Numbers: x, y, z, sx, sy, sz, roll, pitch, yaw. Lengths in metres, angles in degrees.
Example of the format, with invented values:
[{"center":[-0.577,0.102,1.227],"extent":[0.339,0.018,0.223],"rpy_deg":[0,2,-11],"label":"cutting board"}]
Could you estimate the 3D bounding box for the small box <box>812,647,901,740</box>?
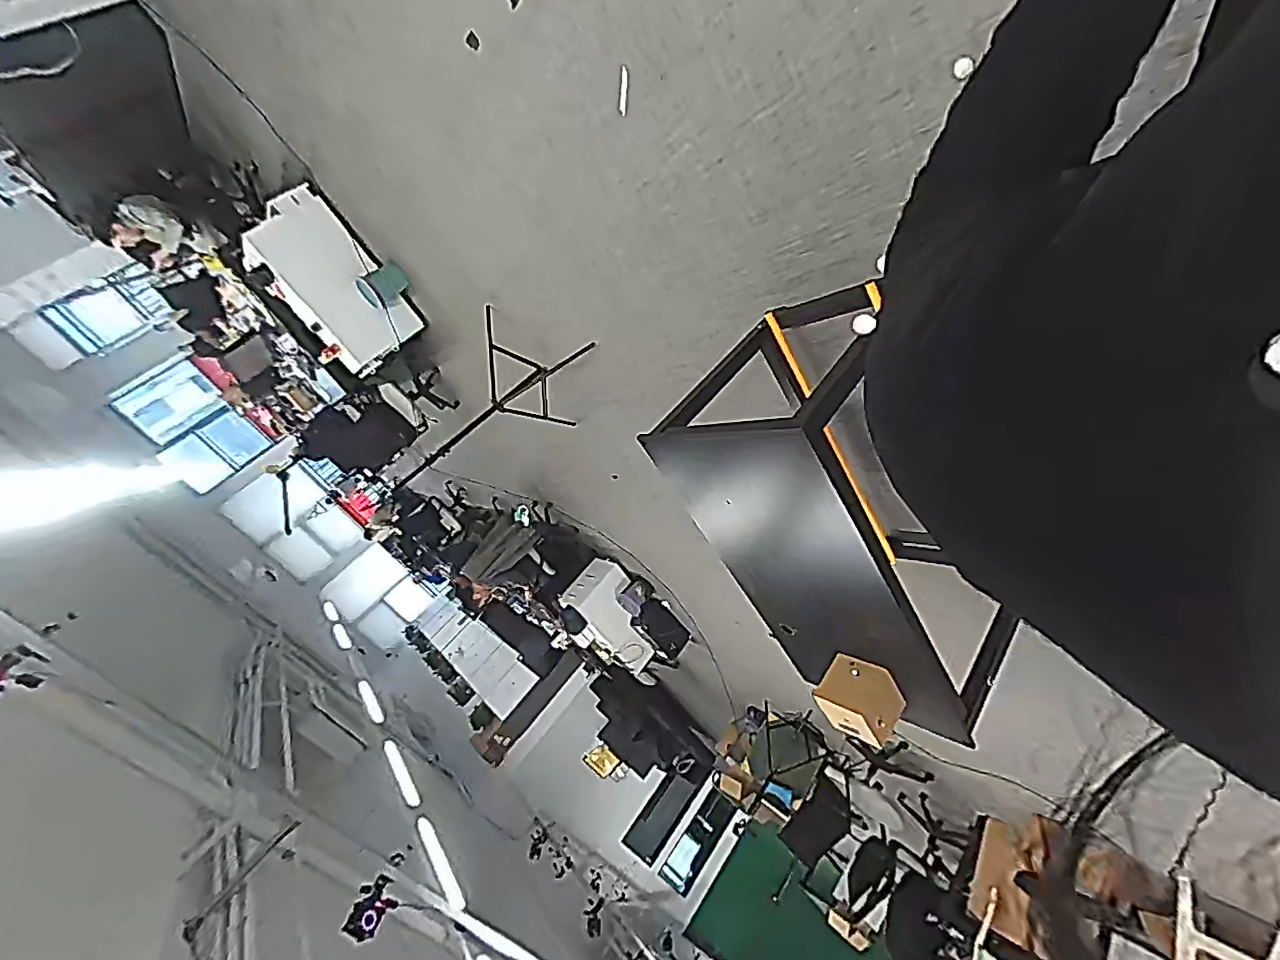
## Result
[{"center":[0.668,0.649,1.659],"extent":[0.168,0.176,0.179],"rpy_deg":[4,135,55],"label":"small box"}]
